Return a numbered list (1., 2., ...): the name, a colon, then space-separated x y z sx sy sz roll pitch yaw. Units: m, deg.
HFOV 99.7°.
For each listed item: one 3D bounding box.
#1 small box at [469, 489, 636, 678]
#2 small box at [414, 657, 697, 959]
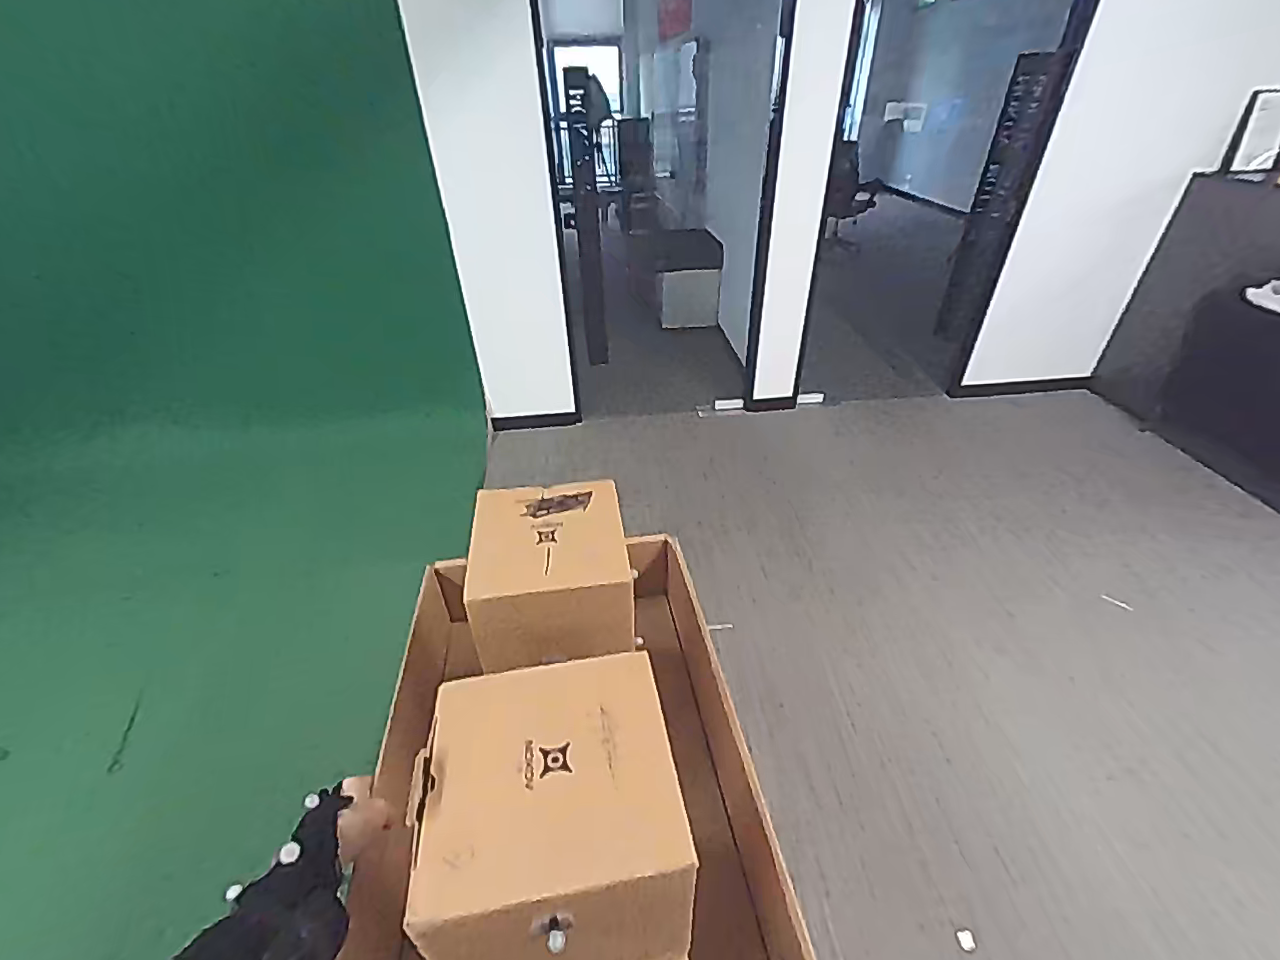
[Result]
1. small box: -0.097 0.132 0.643 0.168 0.176 0.179 -6 35 -7
2. small box: -0.060 0.274 0.435 0.179 0.176 0.168 -6 34 -9
